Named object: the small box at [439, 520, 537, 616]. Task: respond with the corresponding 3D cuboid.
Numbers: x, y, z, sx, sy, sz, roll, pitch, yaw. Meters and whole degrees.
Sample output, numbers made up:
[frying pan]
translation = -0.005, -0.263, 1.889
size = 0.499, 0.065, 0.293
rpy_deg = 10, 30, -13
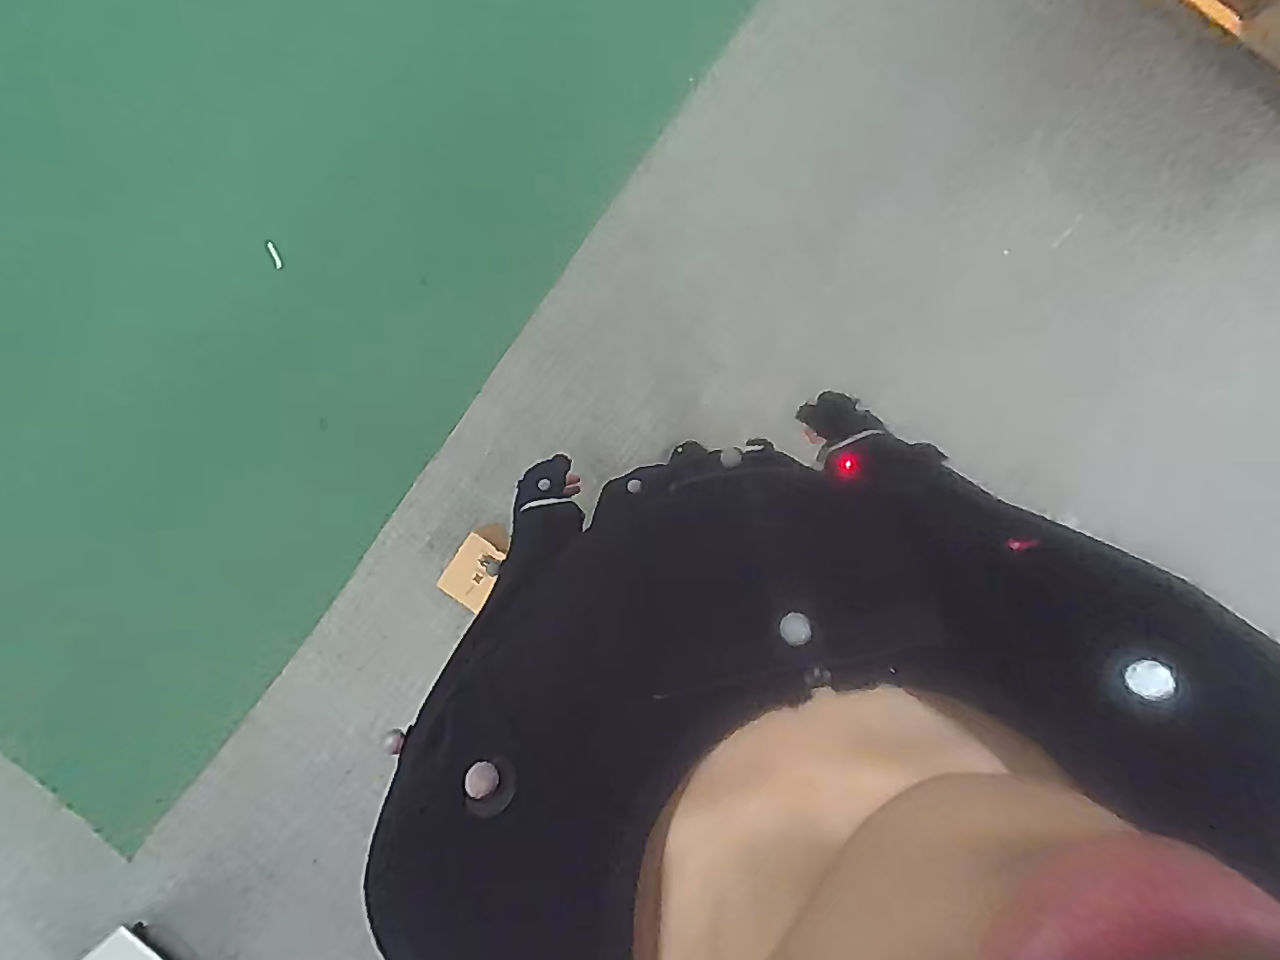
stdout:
[small box]
translation = -0.396, 0.226, 1.446
size = 0.168, 0.176, 0.179
rpy_deg = 36, 95, 1
